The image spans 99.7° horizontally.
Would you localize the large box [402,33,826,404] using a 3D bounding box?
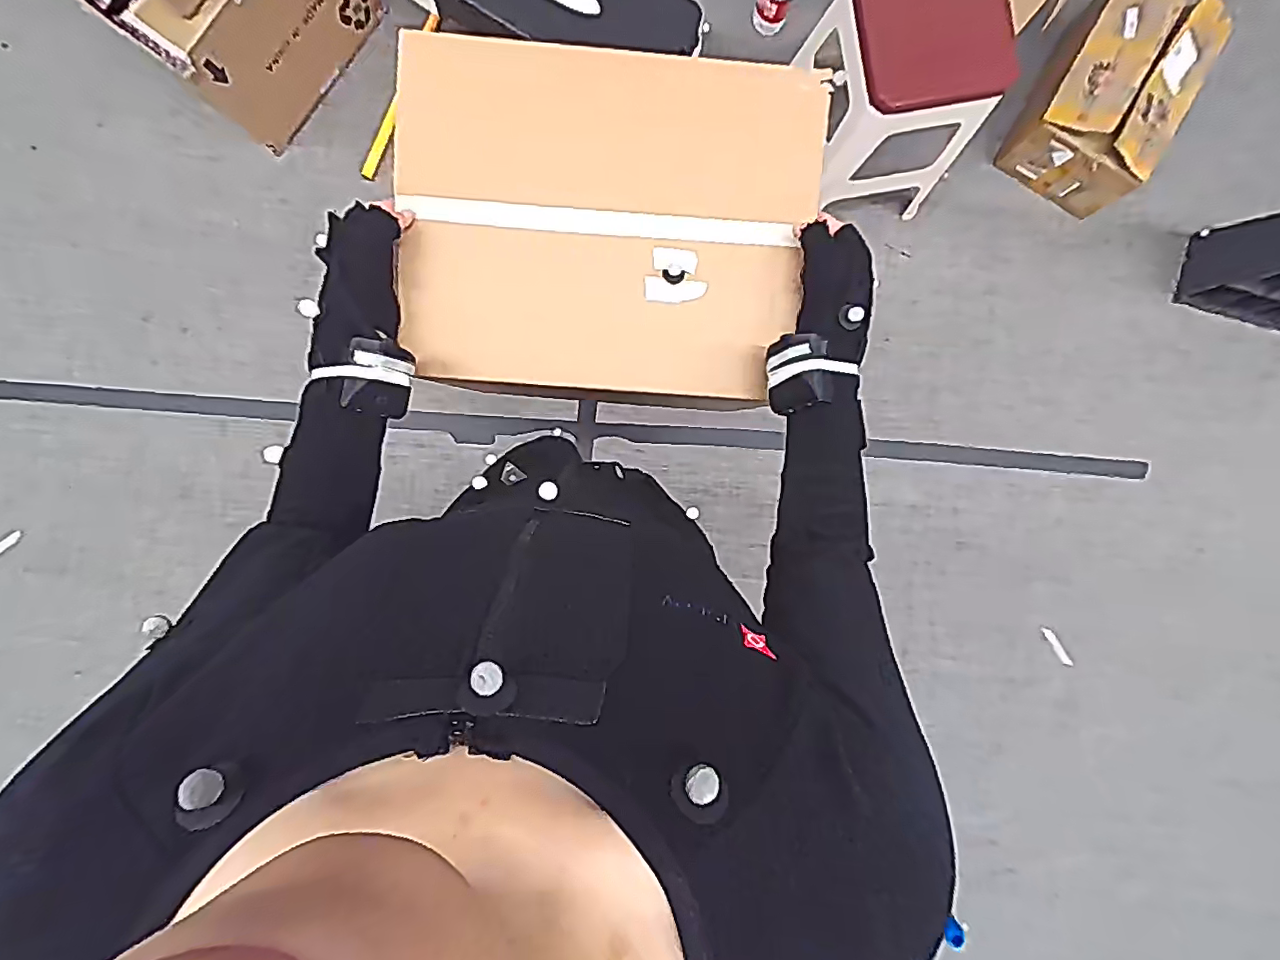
[{"bbox_3d":[-0.034,-0.267,0.671,0.408,0.320,0.320,4,96,-3],"label":"large box"}]
